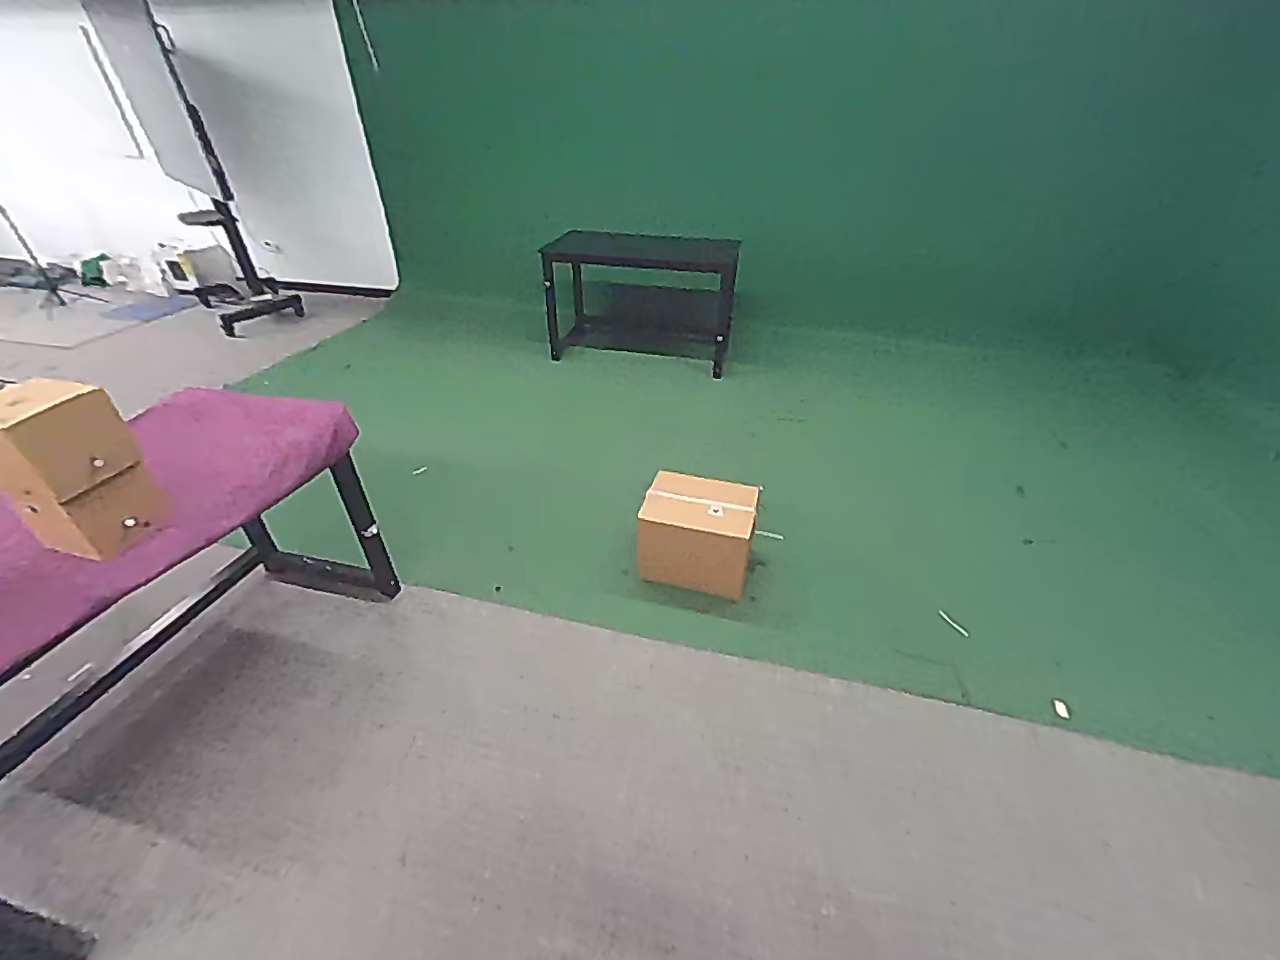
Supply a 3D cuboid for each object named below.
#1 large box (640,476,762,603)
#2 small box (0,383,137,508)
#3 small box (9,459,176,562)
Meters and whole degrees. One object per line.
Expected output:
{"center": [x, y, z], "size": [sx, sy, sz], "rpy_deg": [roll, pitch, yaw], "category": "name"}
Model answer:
{"center": [0.229, 0.221, 2.063], "size": [0.408, 0.320, 0.320], "rpy_deg": [10, 37, 14], "category": "large box"}
{"center": [-1.148, -0.071, 1.057], "size": [0.168, 0.176, 0.179], "rpy_deg": [8, 36, 11], "category": "small box"}
{"center": [-1.172, 0.055, 1.162], "size": [0.179, 0.176, 0.168], "rpy_deg": [10, 37, 13], "category": "small box"}
